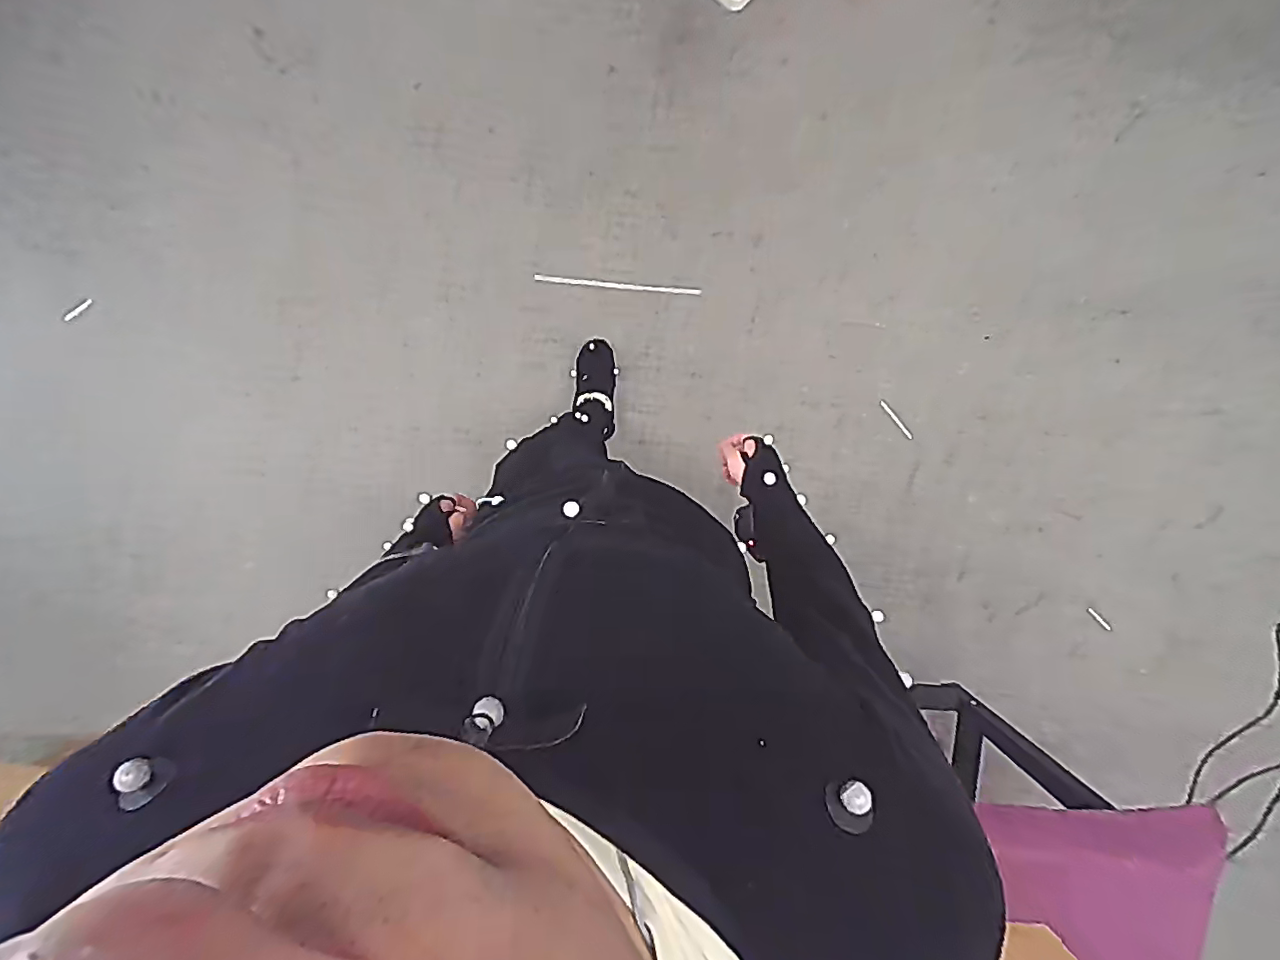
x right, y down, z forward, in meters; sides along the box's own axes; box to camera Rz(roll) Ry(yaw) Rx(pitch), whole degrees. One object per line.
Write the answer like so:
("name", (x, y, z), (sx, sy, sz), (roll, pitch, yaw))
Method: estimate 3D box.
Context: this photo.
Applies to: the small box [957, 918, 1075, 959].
("small box", (0.636, 0.867, 0.874), (0.168, 0.176, 0.179), (6, 95, -2))
